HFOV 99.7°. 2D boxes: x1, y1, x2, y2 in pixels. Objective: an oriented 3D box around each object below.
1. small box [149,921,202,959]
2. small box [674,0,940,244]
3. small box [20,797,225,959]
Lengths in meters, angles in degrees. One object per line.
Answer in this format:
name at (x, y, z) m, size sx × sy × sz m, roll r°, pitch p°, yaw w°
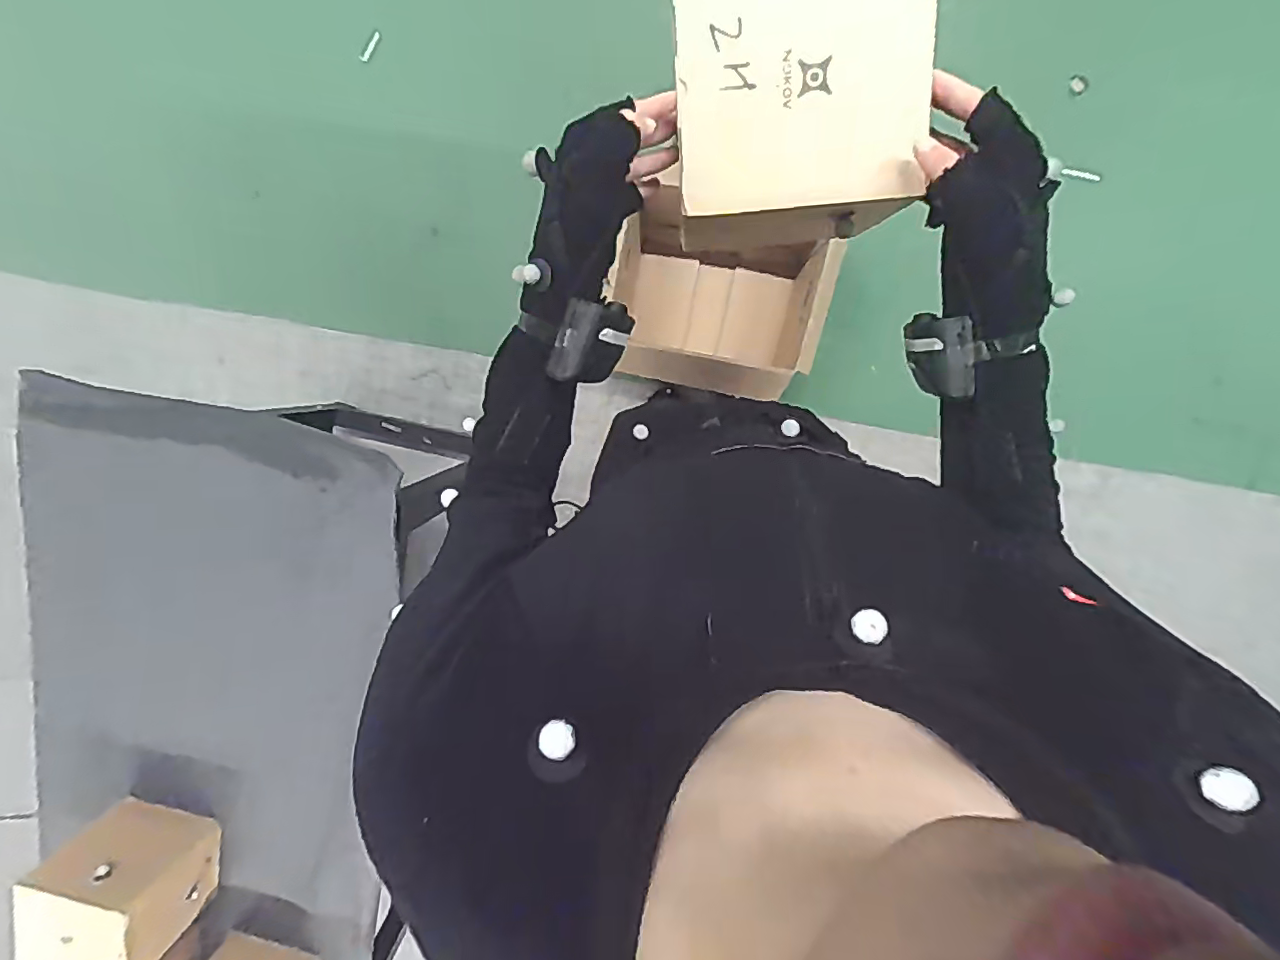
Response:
small box at (-0.896, 0.879, 0.925) m, size 0.179 × 0.176 × 0.168 m, roll 11°, pitch 102°, yaw 3°
small box at (0.119, -0.300, 0.448) m, size 0.179 × 0.176 × 0.168 m, roll -3°, pitch 105°, yaw 6°
small box at (-0.826, 0.655, 0.875) m, size 0.179 × 0.176 × 0.168 m, roll 13°, pitch 102°, yaw 2°
